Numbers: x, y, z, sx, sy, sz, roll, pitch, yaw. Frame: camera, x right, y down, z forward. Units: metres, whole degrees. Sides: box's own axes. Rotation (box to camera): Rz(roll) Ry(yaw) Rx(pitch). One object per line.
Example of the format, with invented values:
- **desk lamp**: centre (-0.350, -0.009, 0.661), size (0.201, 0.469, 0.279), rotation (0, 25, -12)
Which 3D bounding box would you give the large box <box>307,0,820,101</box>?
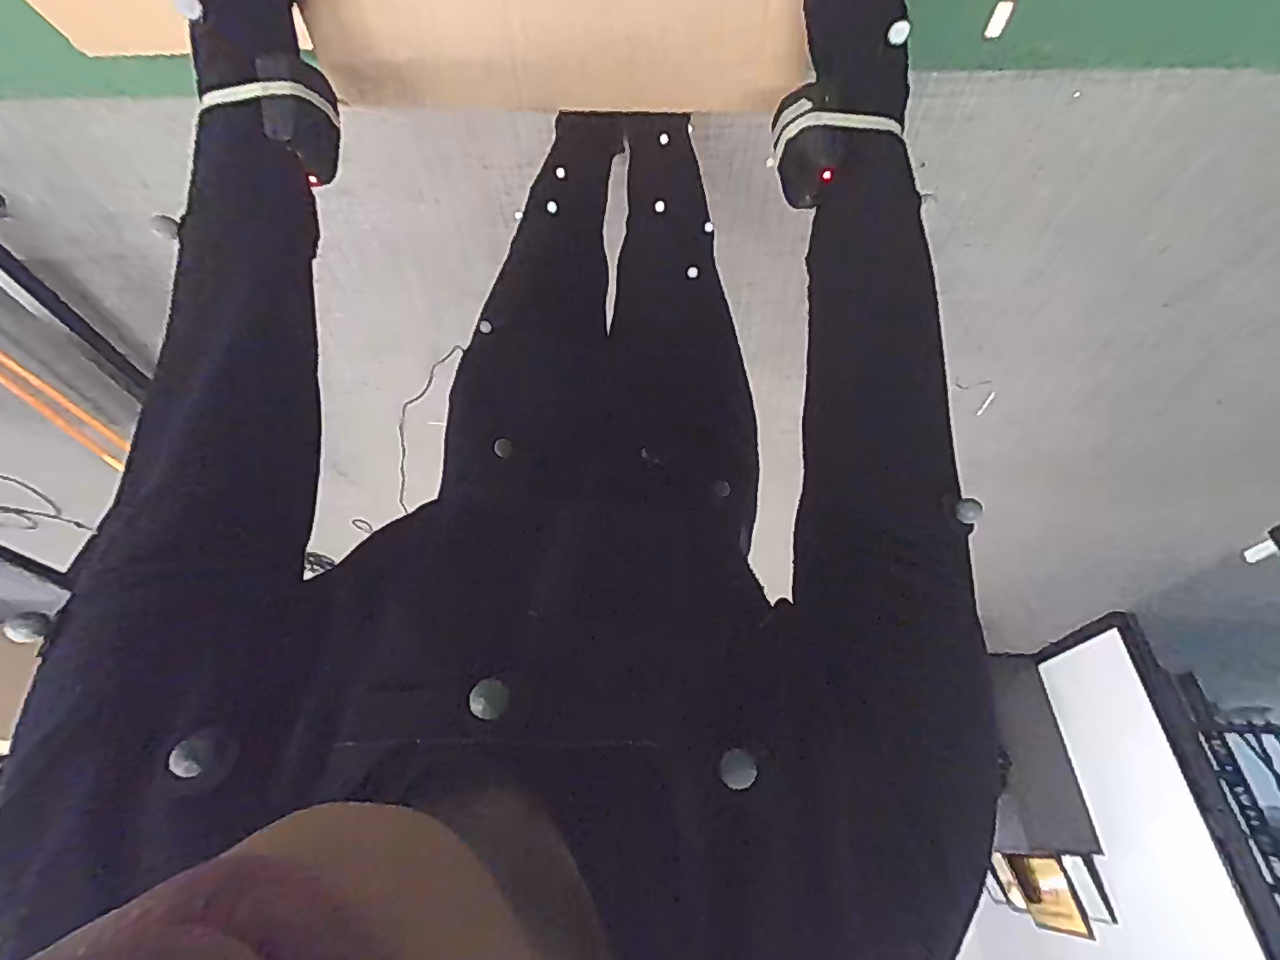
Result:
- **large box**: centre (-0.061, -0.542, 0.433), size (0.408, 0.320, 0.320), rotation (1, 144, 1)
